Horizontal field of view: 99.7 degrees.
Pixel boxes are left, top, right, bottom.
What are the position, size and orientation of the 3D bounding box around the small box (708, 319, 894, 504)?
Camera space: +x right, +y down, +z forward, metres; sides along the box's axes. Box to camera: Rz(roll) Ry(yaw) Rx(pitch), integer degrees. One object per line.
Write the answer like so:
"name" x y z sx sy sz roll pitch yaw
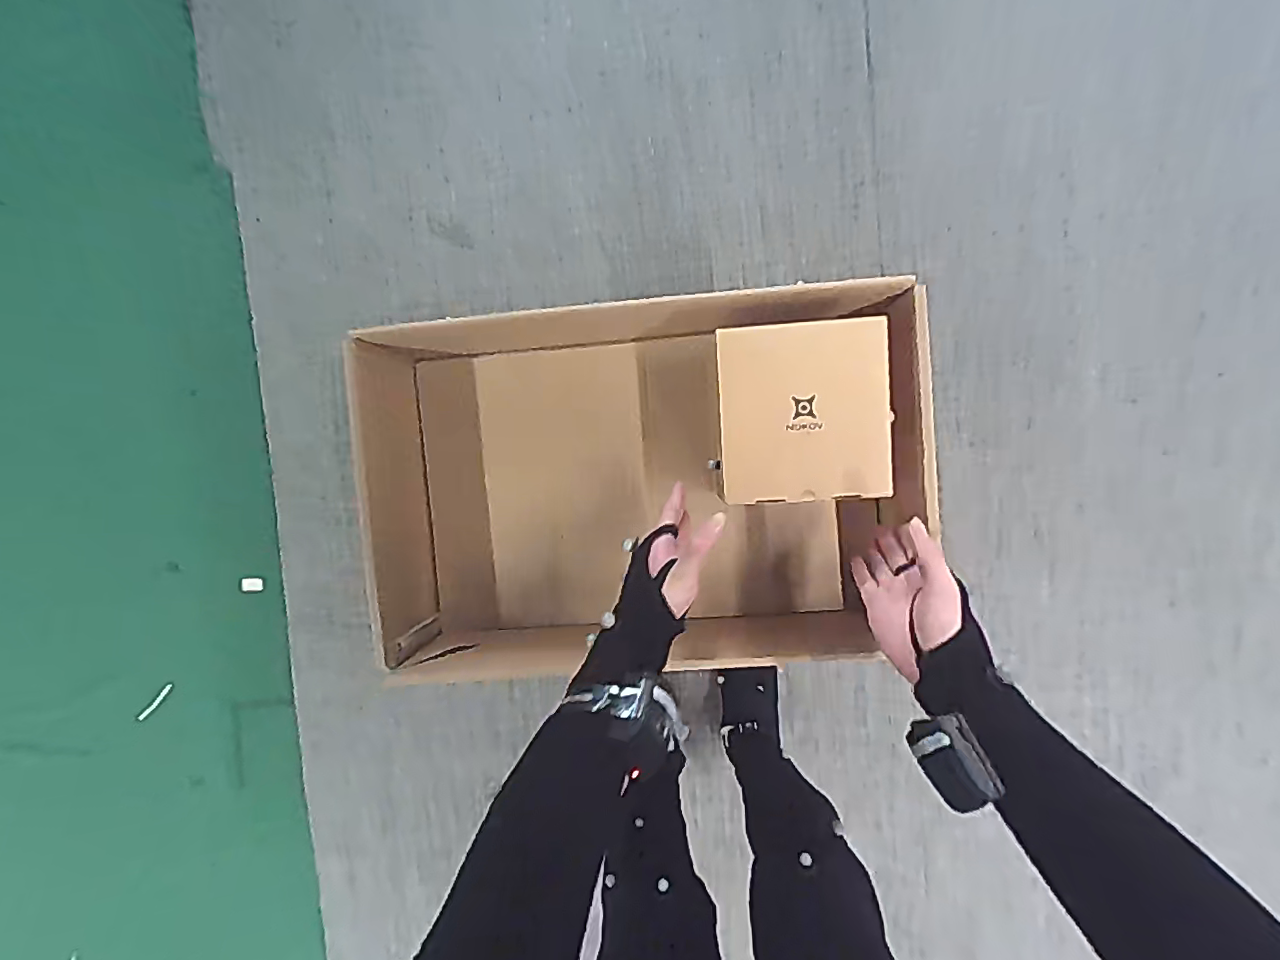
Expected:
"small box" 0.167 -0.070 0.608 0.168 0.176 0.179 -3 94 4
